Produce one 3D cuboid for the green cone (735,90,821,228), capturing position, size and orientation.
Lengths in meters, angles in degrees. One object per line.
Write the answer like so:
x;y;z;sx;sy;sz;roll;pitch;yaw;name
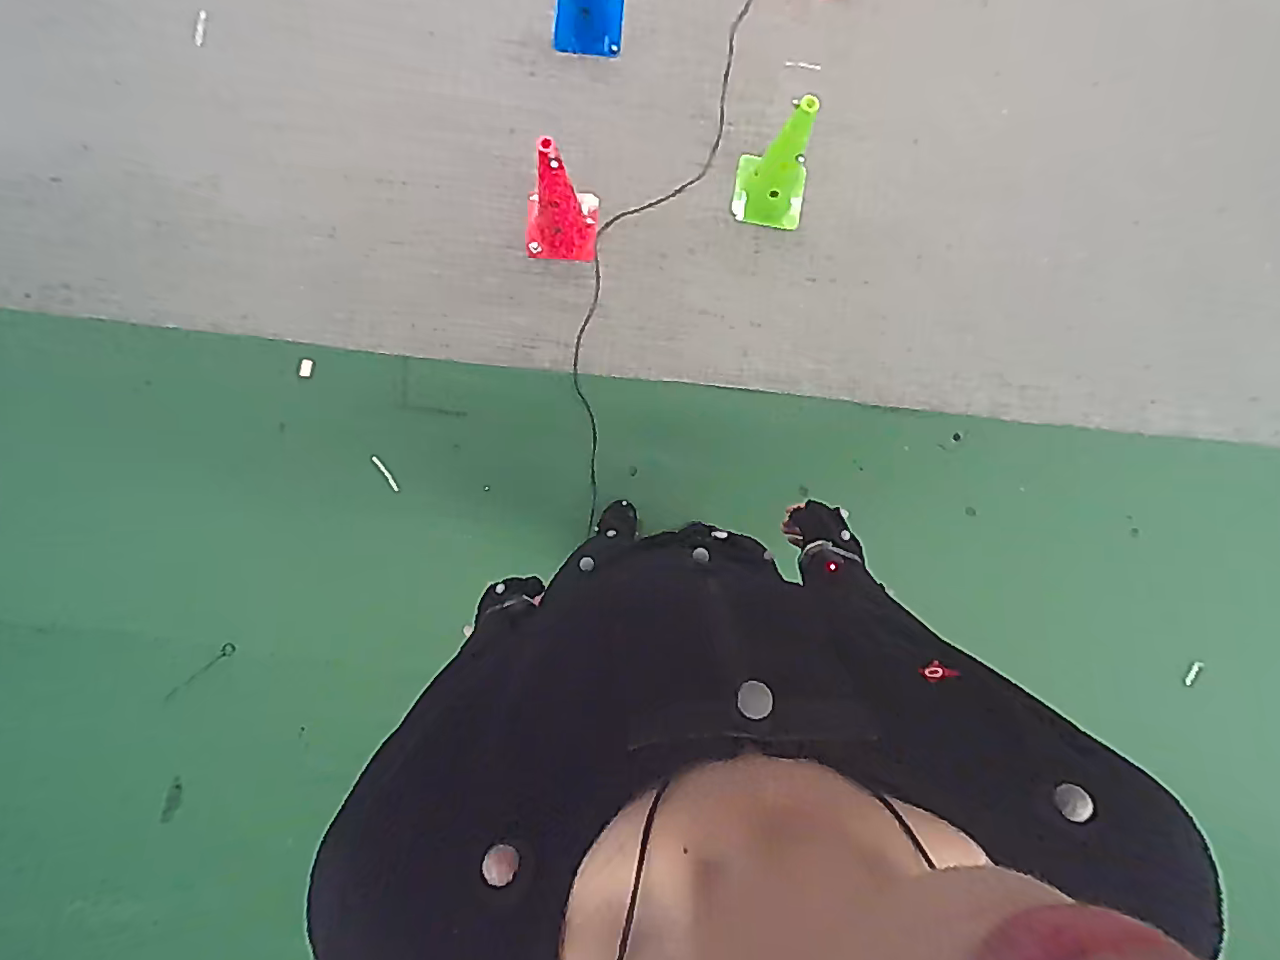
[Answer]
0.391;-0.853;1.408;0.200;0.368;0.202;8;86;-2;green cone
